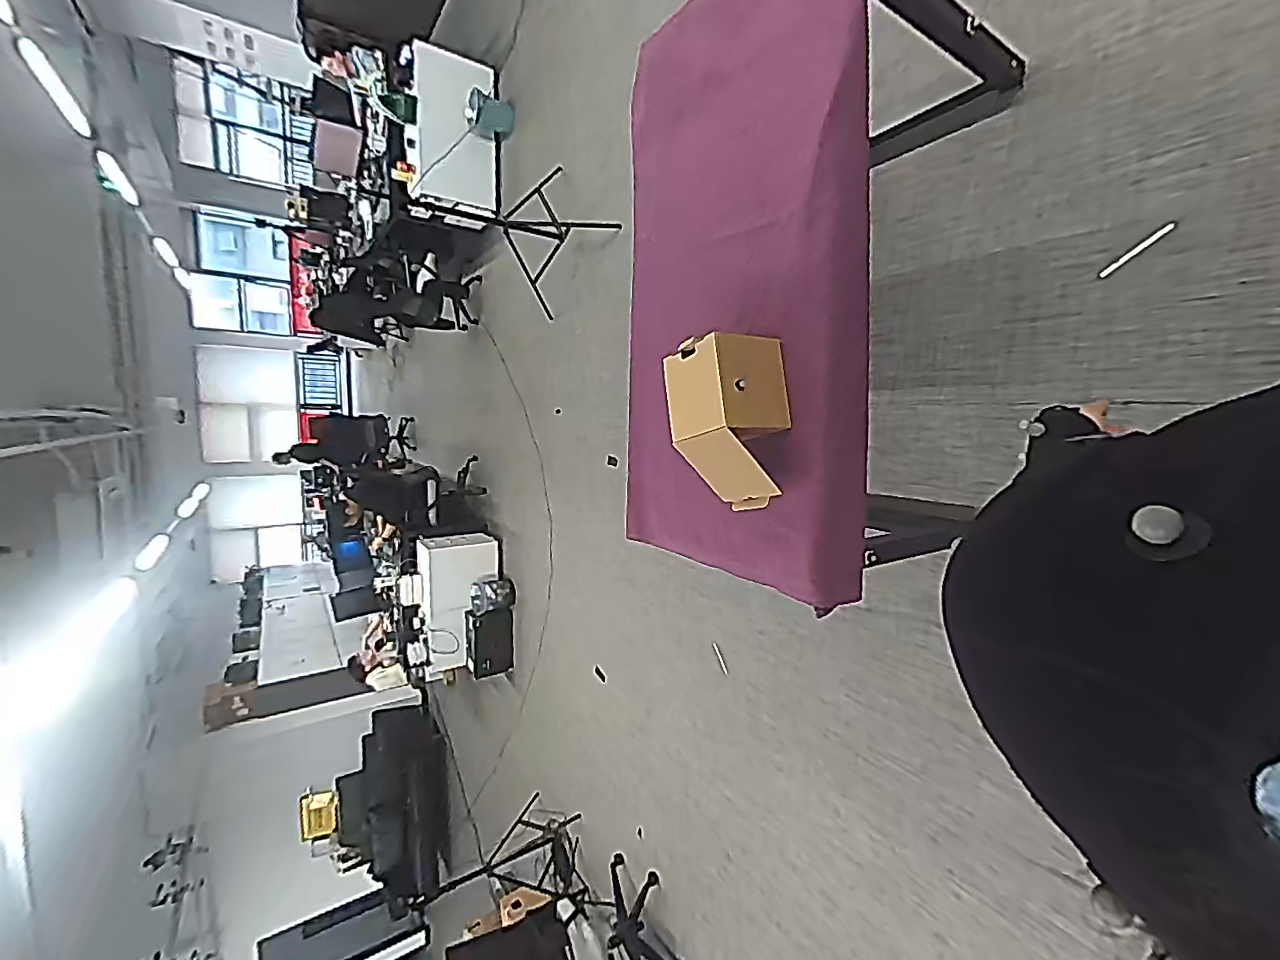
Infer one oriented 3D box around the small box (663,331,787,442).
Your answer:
[{"bbox_3d":[0.167,-0.174,1.053,0.168,0.176,0.179,-13,82,57],"label":"small box"}]
